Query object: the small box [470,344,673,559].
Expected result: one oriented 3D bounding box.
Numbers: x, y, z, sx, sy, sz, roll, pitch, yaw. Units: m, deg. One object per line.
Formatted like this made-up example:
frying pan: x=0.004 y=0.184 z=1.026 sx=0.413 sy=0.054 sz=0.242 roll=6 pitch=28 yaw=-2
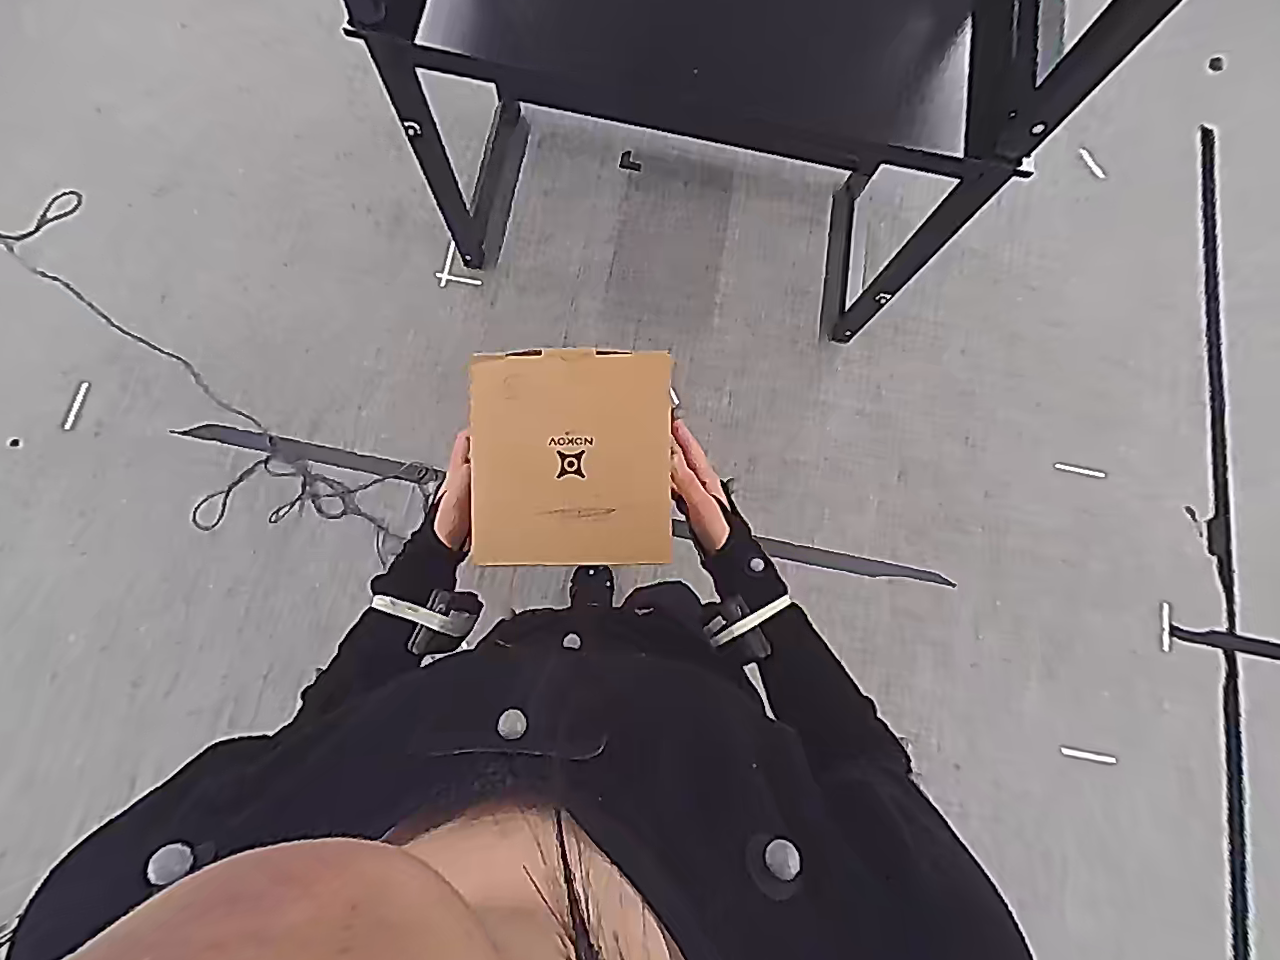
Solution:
small box: x=-0.055 y=-0.024 z=0.517 sx=0.168 sy=0.176 sz=0.179 roll=0 pitch=92 yaw=1
